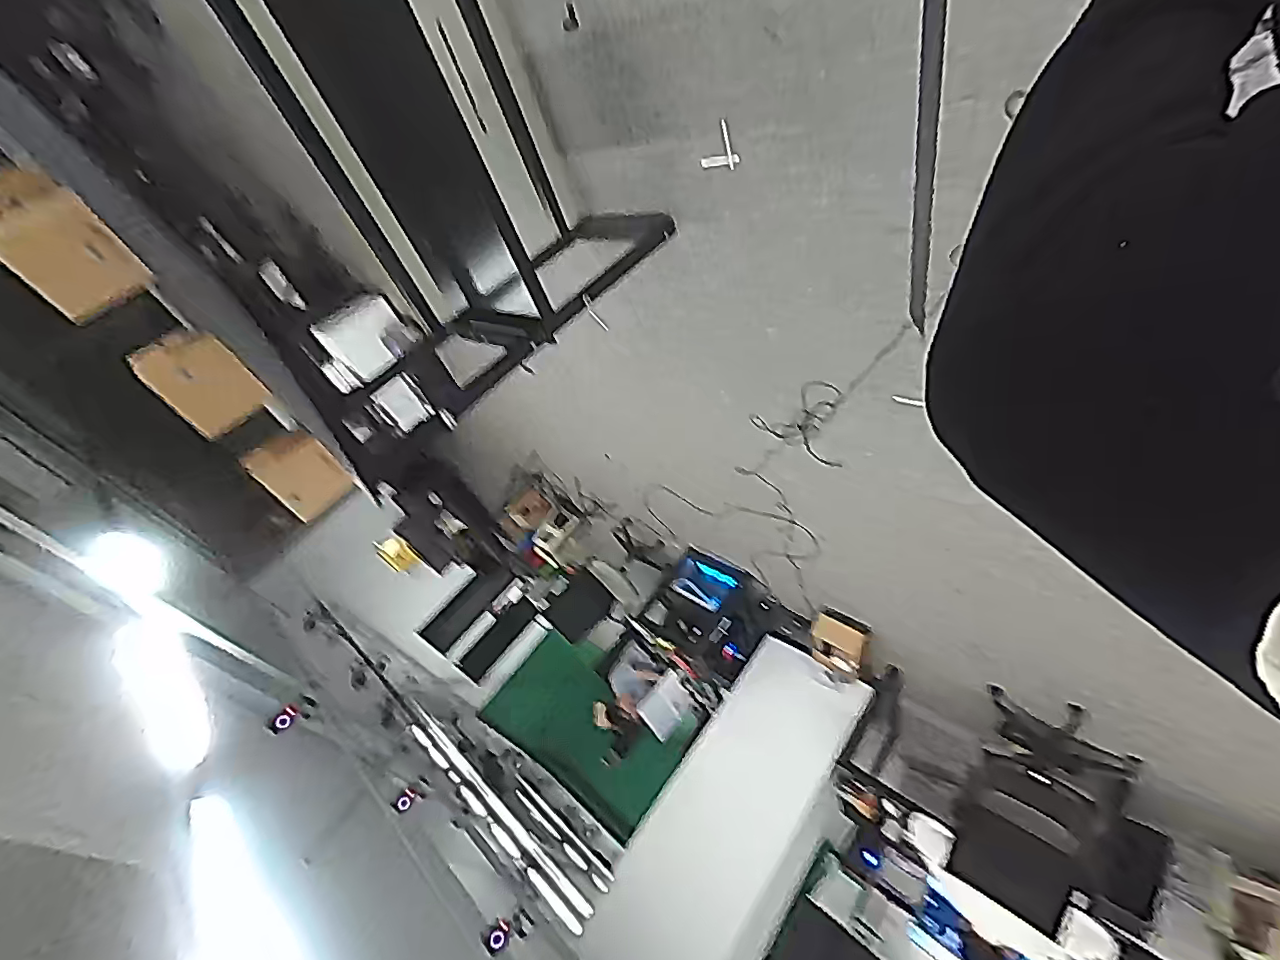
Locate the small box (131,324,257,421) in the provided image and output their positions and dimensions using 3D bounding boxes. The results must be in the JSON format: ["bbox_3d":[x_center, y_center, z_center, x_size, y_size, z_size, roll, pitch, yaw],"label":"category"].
[{"bbox_3d":[-1.170,-0.288,1.426,0.168,0.176,0.179,22,150,38],"label":"small box"}]

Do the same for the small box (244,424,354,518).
[{"bbox_3d":[-0.917,-0.032,1.465,0.179,0.176,0.168,21,149,41],"label":"small box"}]

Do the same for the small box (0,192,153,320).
[{"bbox_3d":[-1.119,-0.444,1.063,0.179,0.176,0.168,25,152,36],"label":"small box"}]
